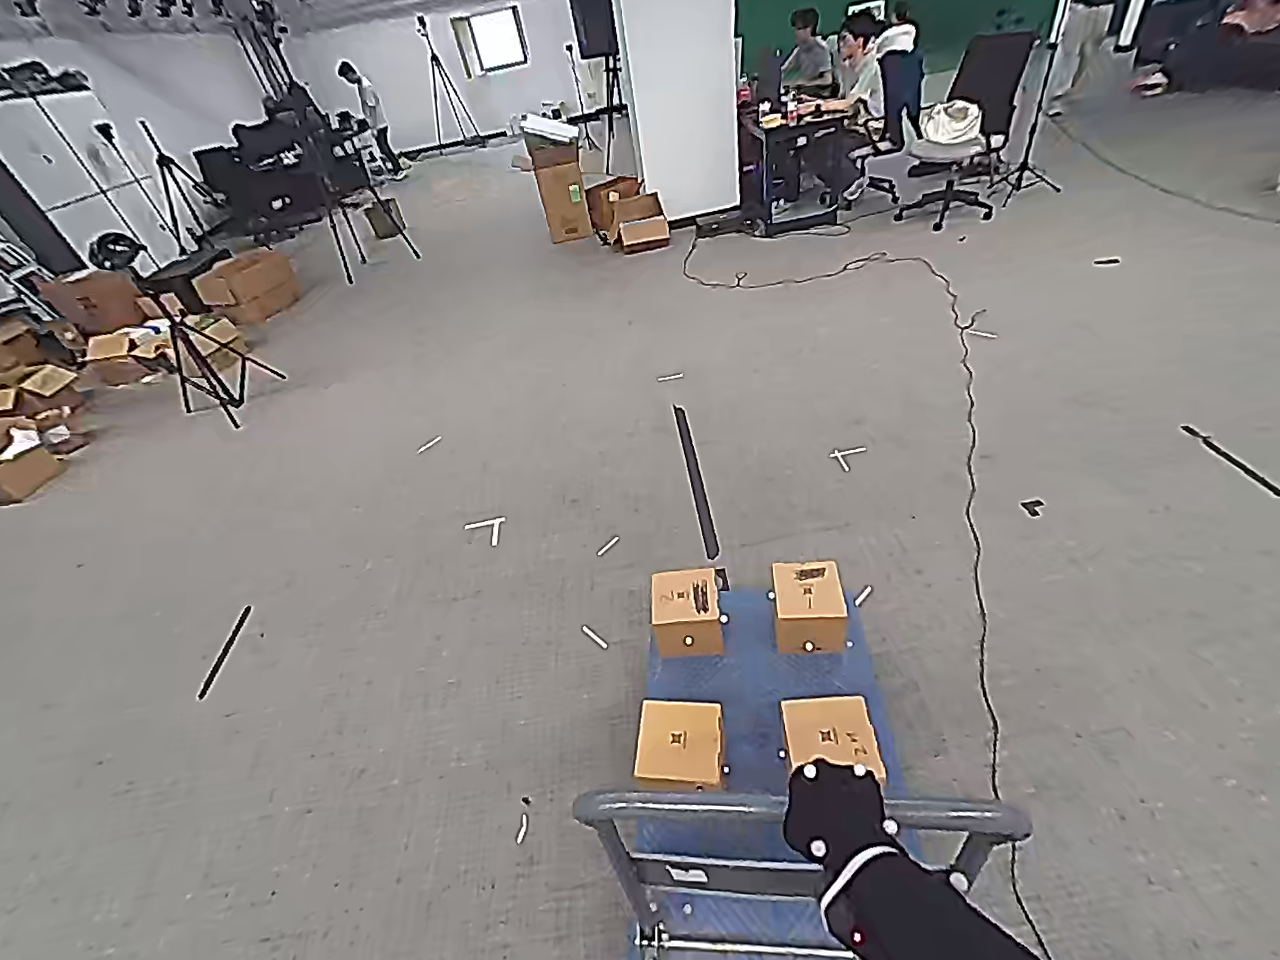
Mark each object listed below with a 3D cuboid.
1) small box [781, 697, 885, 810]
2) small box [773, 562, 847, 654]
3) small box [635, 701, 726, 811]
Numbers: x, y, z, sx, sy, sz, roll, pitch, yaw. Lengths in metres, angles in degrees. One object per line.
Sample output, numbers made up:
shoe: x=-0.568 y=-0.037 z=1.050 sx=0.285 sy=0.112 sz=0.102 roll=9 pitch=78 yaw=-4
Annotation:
small box: x=0.402 y=0.585 z=1.151 sx=0.179 sy=0.176 sz=0.168 roll=-6 pitch=40 yaw=8
small box: x=0.441 y=0.339 z=1.429 sx=0.168 sy=0.176 sz=0.179 roll=-4 pitch=42 yaw=10
small box: x=0.097 y=0.613 z=1.200 sx=0.179 sy=0.176 sz=0.168 roll=-2 pitch=40 yaw=11
